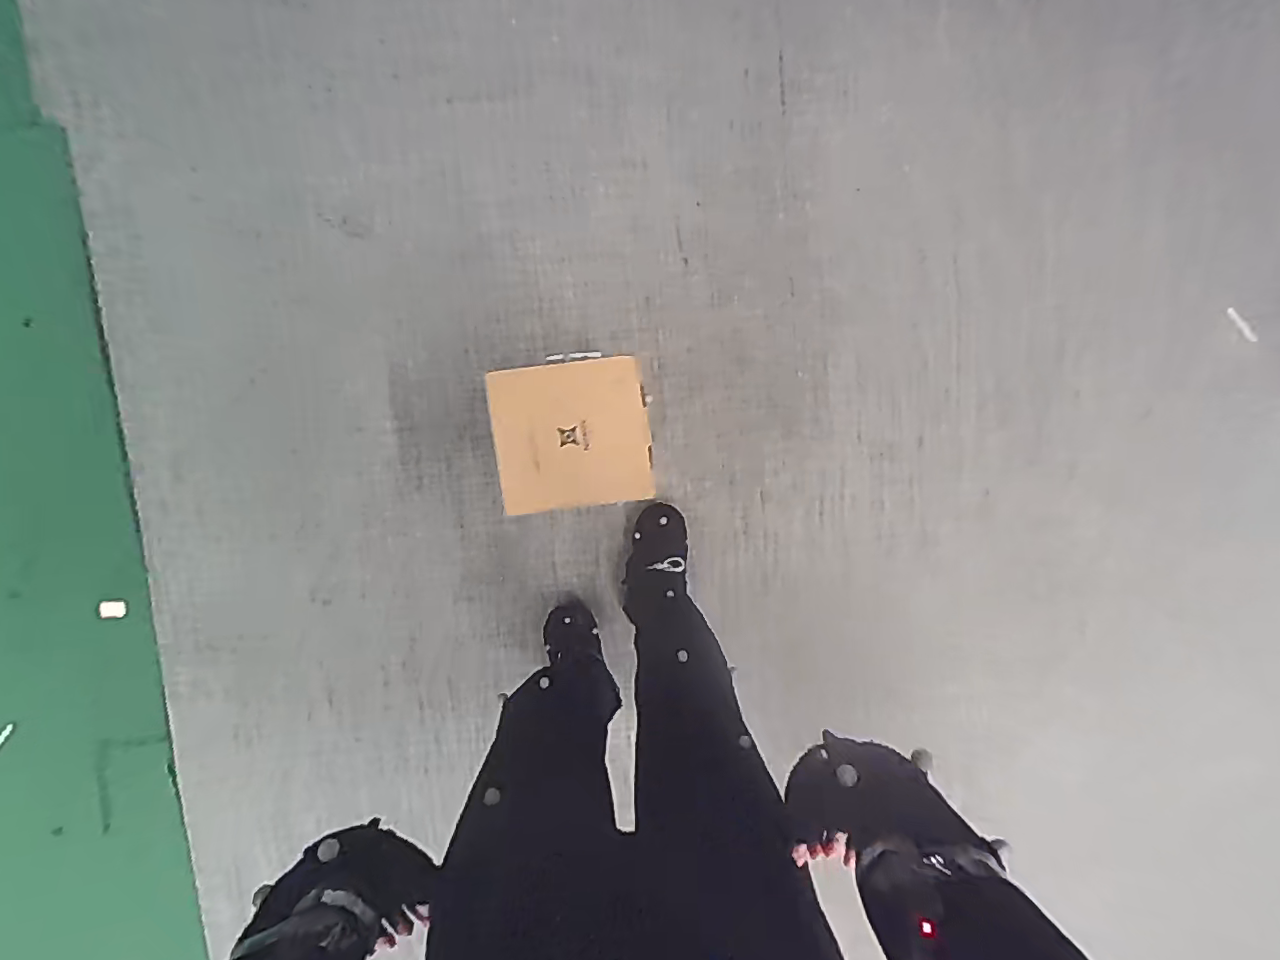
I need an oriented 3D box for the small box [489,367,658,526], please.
[{"bbox_3d":[-0.078,-0.044,0.694,0.179,0.176,0.168,-8,94,-1],"label":"small box"}]
